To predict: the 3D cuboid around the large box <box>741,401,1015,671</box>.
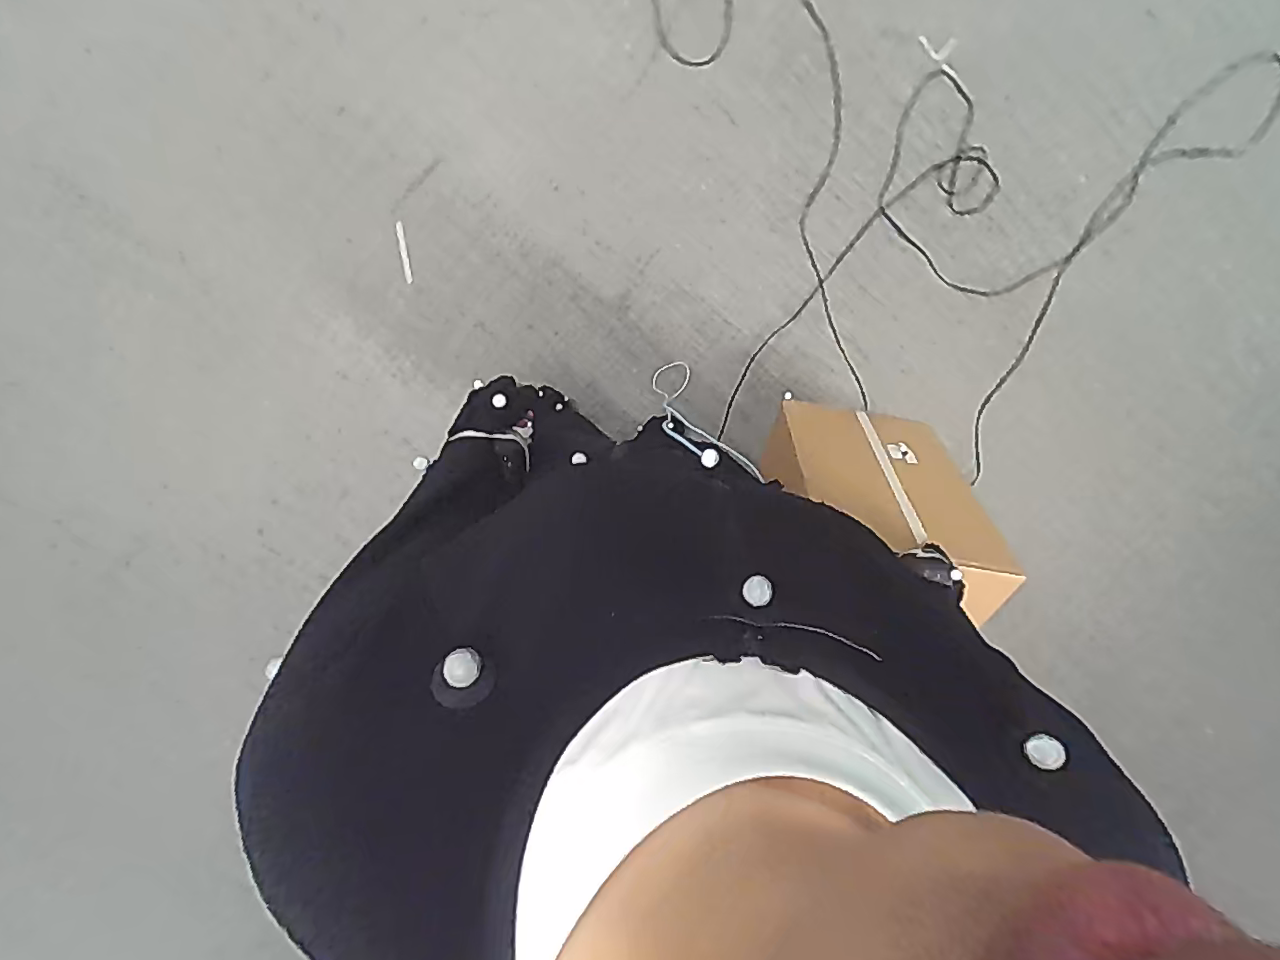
[{"bbox_3d":[0.395,0.099,1.035,0.320,0.408,0.320,9,129,-3],"label":"large box"}]
